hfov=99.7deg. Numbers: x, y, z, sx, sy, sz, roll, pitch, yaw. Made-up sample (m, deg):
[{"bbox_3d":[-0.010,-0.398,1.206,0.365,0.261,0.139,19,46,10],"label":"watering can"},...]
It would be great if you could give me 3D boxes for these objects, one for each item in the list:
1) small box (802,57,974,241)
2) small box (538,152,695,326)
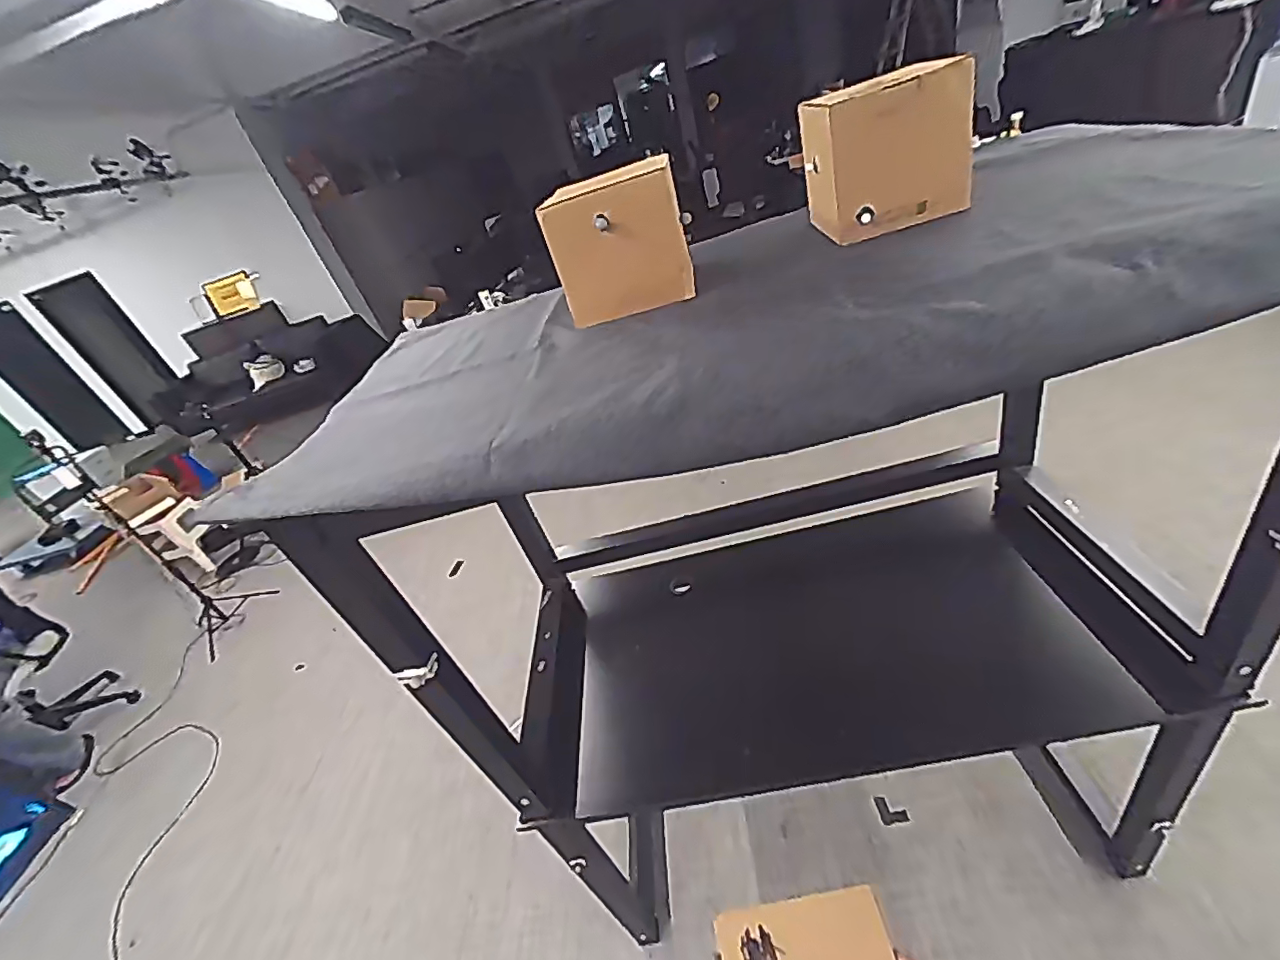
[{"bbox_3d":[0.331,-0.444,0.740,0.168,0.176,0.179,-12,33,10],"label":"small box"},{"bbox_3d":[-0.020,-0.344,0.778,0.179,0.176,0.168,-12,34,13],"label":"small box"}]
